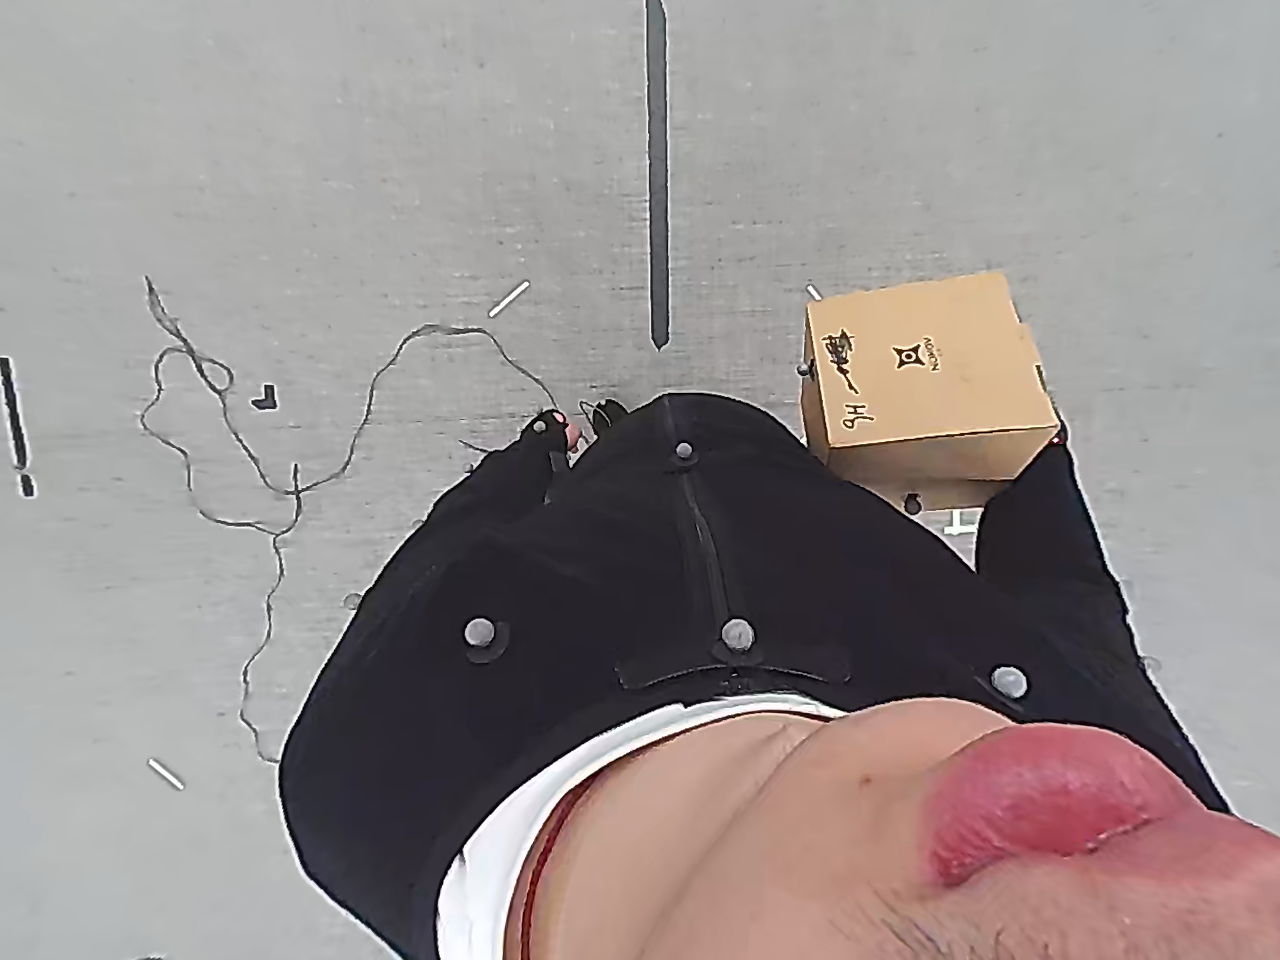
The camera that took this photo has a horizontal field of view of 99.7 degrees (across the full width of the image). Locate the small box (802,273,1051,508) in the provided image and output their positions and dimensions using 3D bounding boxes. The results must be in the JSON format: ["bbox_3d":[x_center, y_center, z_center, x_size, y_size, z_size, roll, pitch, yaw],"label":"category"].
[{"bbox_3d":[0.270,-0.080,0.560,0.179,0.176,0.168,-5,63,12],"label":"small box"}]
